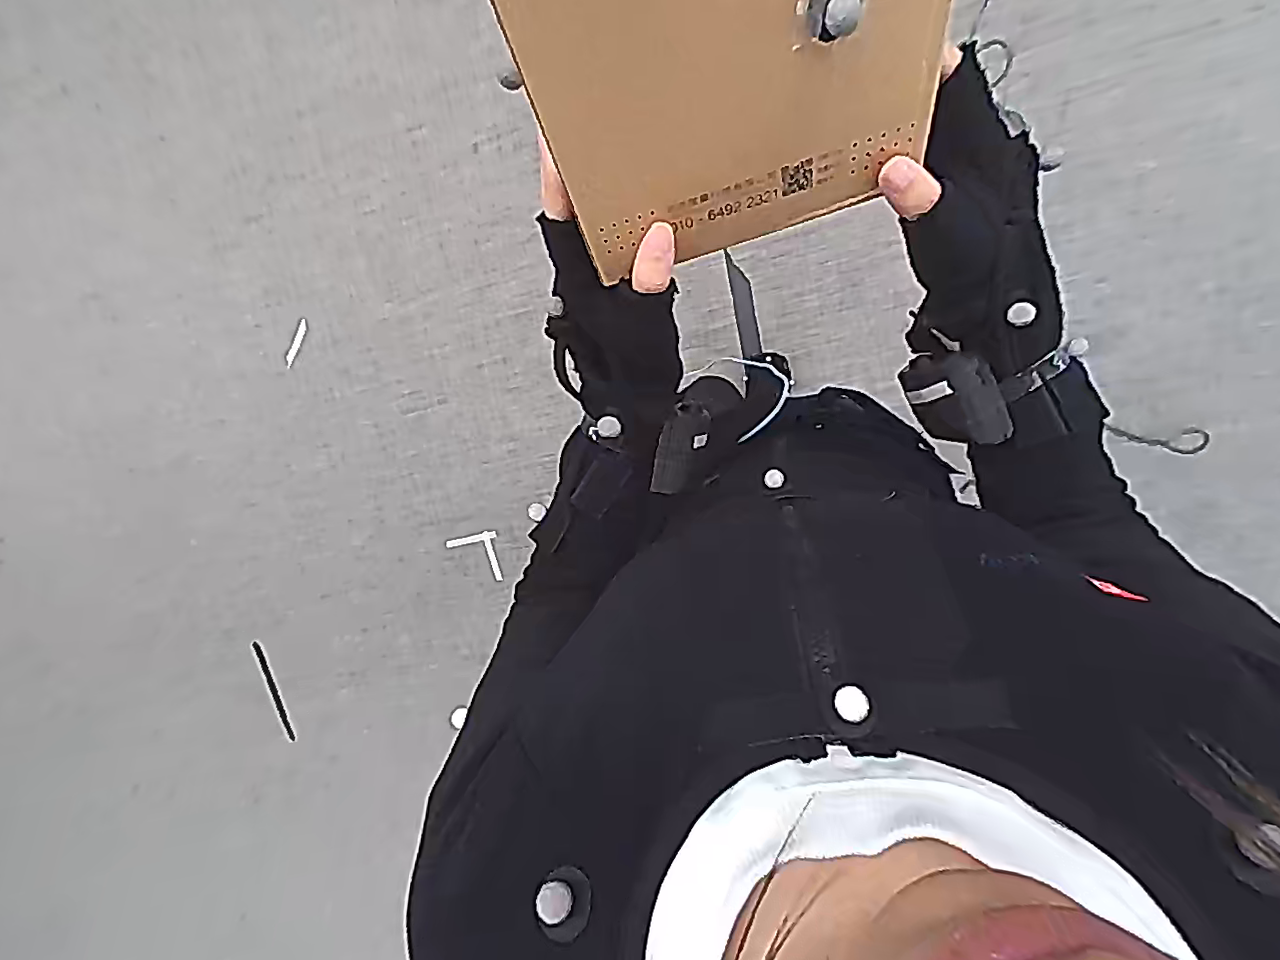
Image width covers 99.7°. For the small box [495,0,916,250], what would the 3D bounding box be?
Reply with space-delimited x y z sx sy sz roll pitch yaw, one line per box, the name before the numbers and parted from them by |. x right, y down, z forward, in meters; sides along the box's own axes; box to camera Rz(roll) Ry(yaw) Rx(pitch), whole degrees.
small box | 0.028 -0.243 0.271 0.168 0.176 0.179 -14 57 9
